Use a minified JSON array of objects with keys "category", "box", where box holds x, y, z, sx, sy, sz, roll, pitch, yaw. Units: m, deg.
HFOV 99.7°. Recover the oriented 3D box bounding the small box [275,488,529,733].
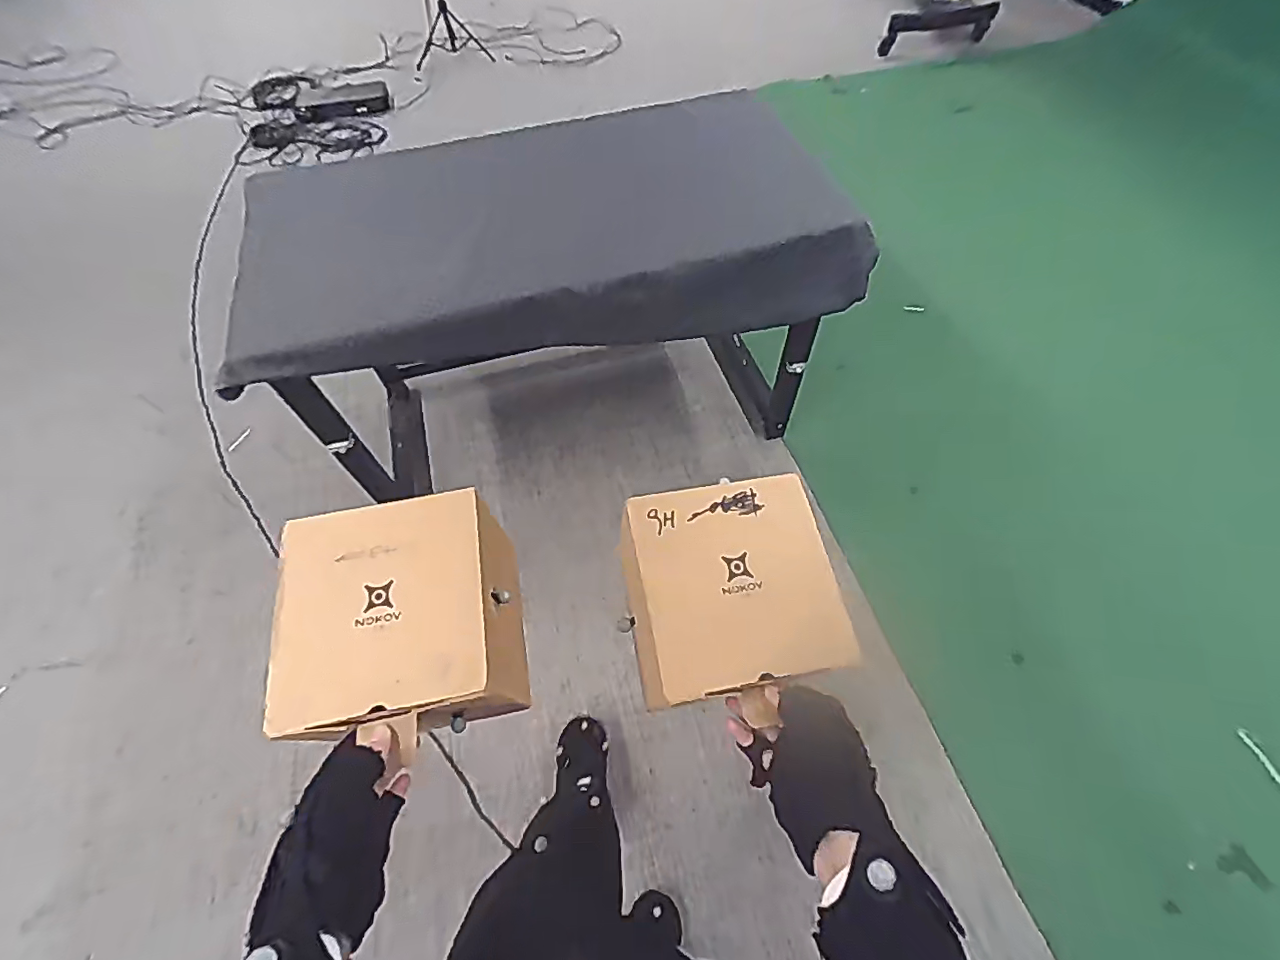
[{"category":"small box","box":[-0.207,0.132,0.515,0.168,0.176,0.179,-11,63,-6]}]
